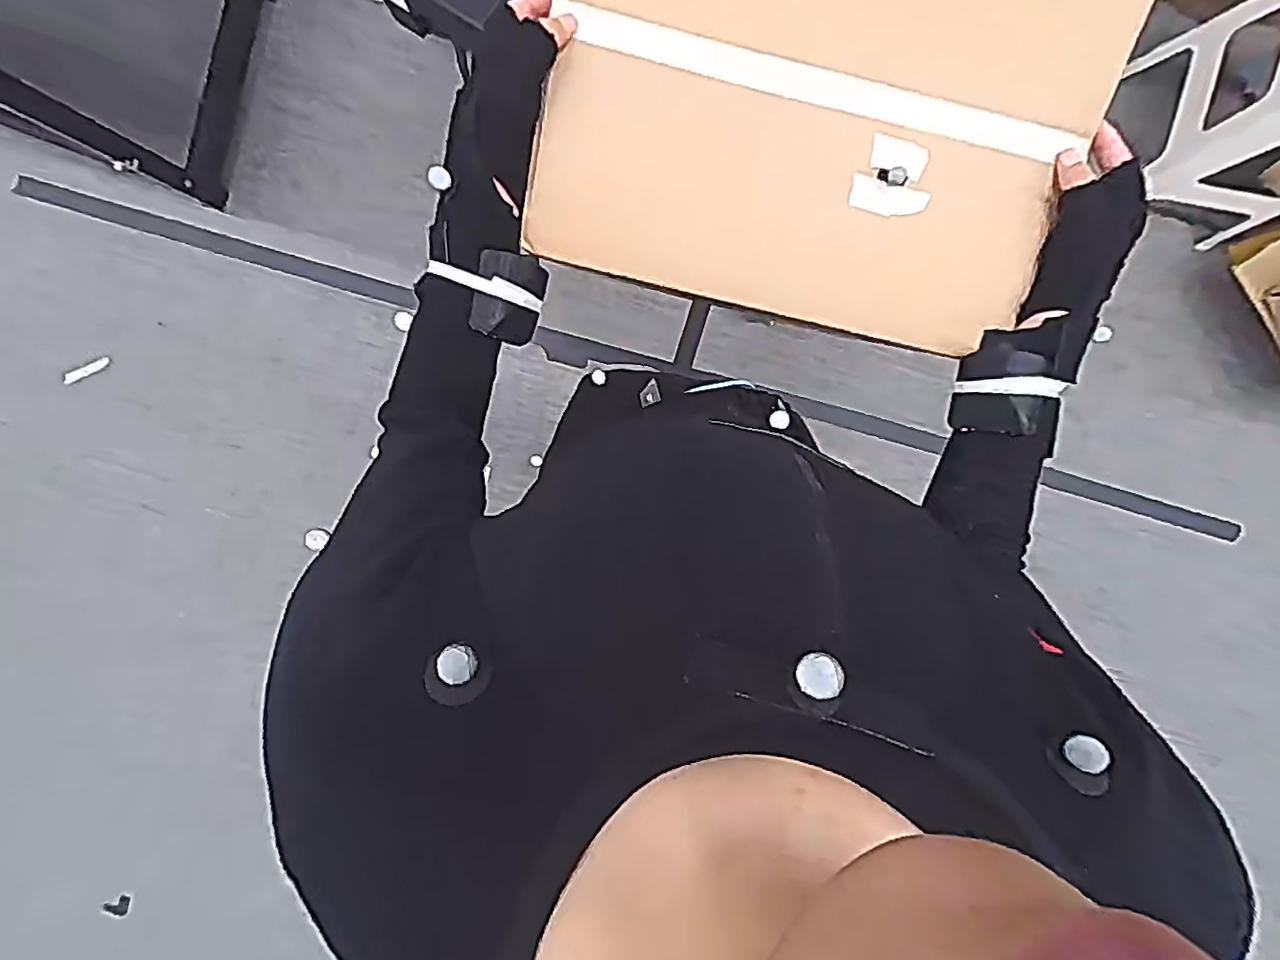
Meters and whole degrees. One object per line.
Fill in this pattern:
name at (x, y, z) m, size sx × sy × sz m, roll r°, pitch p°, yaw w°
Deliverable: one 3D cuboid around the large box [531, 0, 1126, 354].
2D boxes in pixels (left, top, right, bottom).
large box at (0.131, -0.335, 0.548) m, size 0.408 × 0.320 × 0.320 m, roll 12°, pitch 109°, yaw -5°
